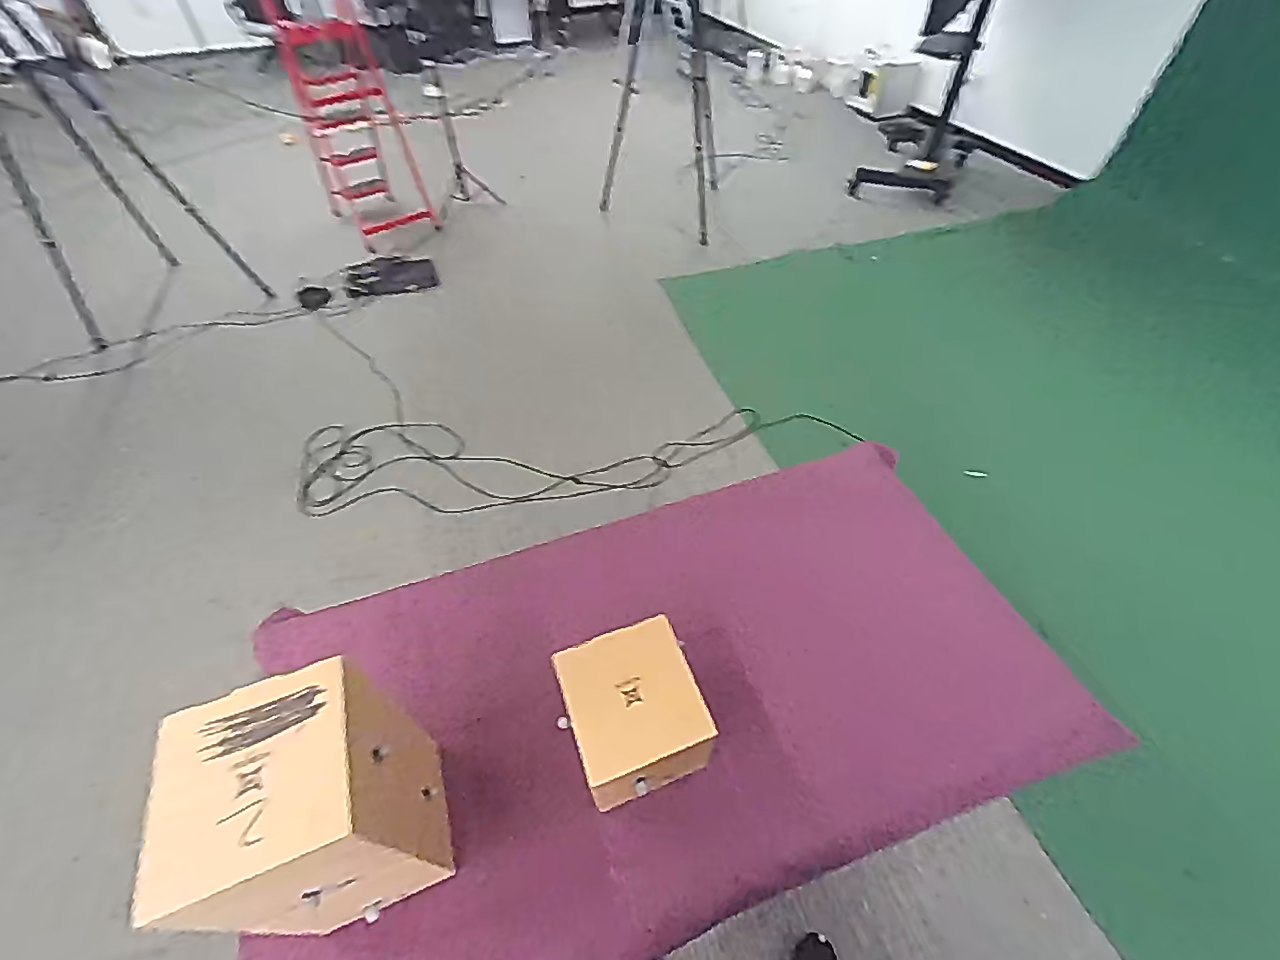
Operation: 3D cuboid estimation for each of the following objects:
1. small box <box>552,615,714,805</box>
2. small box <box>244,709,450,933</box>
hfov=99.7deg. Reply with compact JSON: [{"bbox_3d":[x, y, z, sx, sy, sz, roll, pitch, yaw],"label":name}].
[{"bbox_3d":[-0.011,0.325,0.752,0.168,0.176,0.179,-17,51,-13],"label":"small box"},{"bbox_3d":[-0.348,0.421,0.667,0.168,0.176,0.179,-17,52,-14],"label":"small box"}]
